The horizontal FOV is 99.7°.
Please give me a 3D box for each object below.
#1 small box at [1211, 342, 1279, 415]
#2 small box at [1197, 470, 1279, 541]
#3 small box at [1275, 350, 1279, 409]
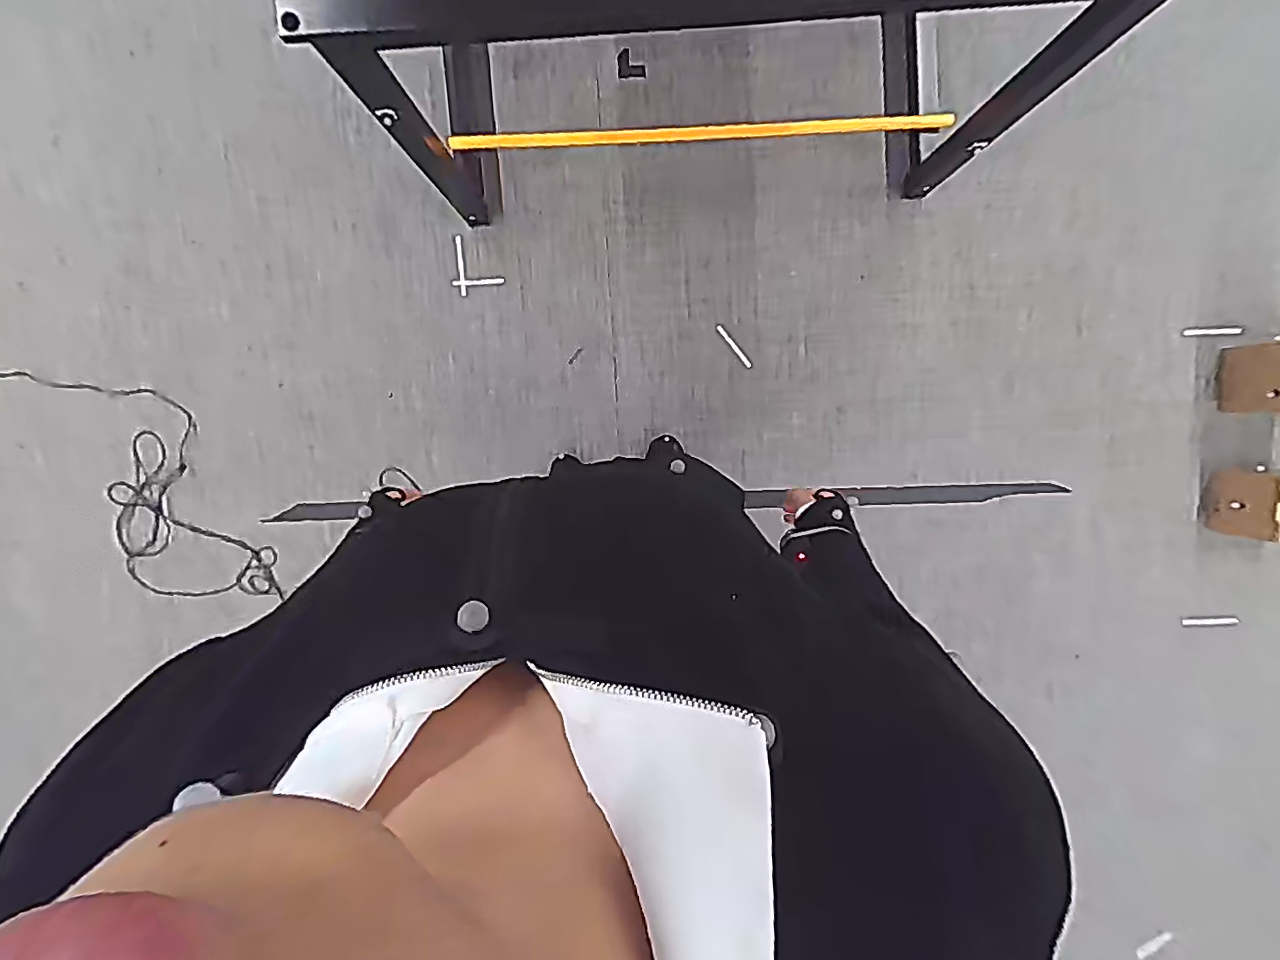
[{"bbox_3d":[1.627,-0.261,1.383,0.168,0.176,0.179,-4,96,0],"label":"small box"},{"bbox_3d":[1.635,0.064,1.423,0.179,0.176,0.168,-1,97,1],"label":"small box"},{"bbox_3d":[1.622,-0.245,1.222,0.179,0.176,0.168,-3,95,2],"label":"small box"}]
